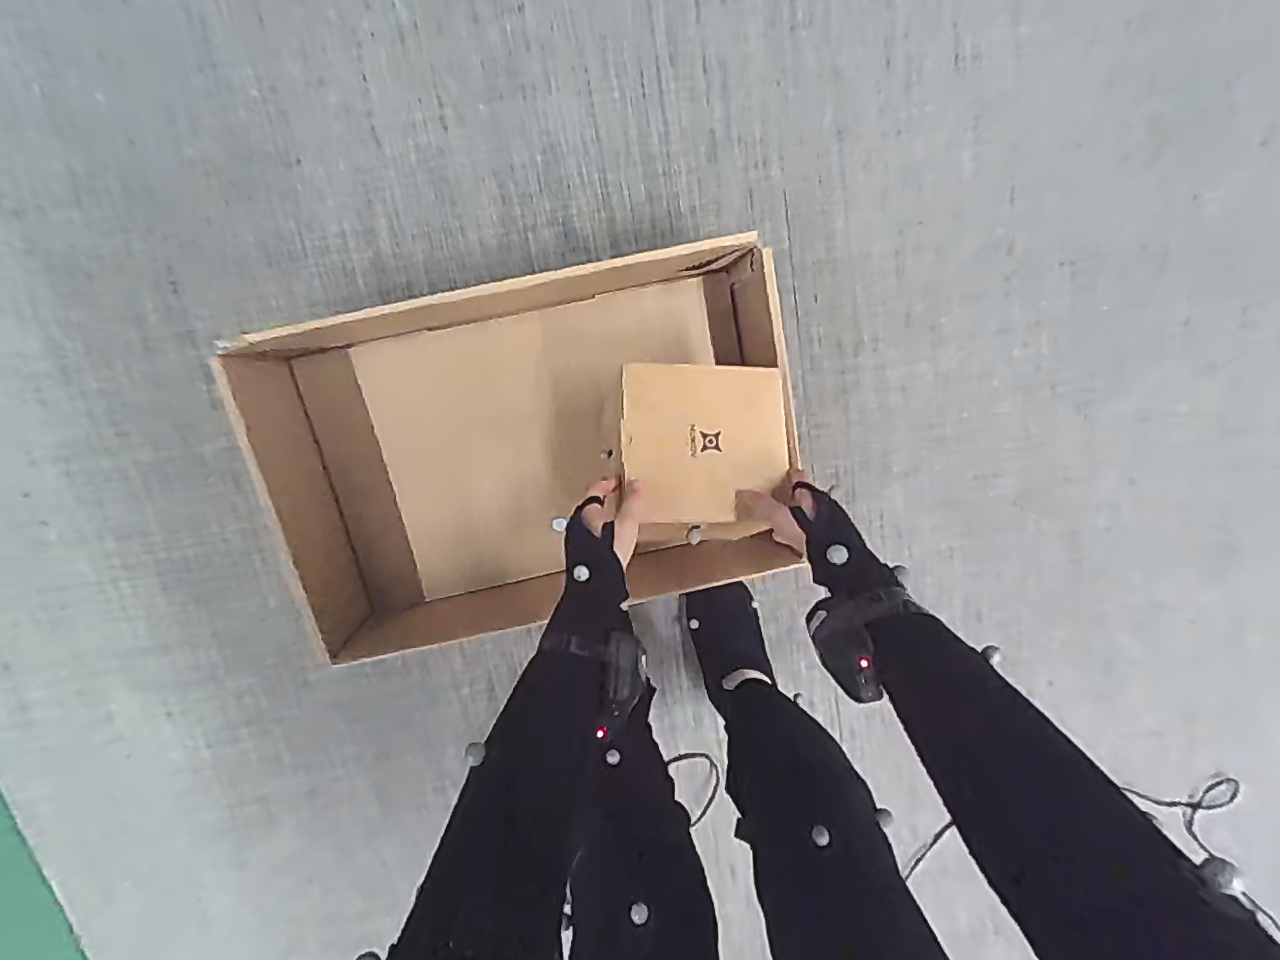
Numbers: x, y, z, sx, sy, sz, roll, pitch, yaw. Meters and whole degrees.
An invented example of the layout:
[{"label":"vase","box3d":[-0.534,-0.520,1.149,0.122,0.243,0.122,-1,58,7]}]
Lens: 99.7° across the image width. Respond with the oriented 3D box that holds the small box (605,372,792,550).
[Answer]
[{"label":"small box","box3d":[0.055,-0.011,0.625,0.179,0.176,0.168,1,76,-9]}]
